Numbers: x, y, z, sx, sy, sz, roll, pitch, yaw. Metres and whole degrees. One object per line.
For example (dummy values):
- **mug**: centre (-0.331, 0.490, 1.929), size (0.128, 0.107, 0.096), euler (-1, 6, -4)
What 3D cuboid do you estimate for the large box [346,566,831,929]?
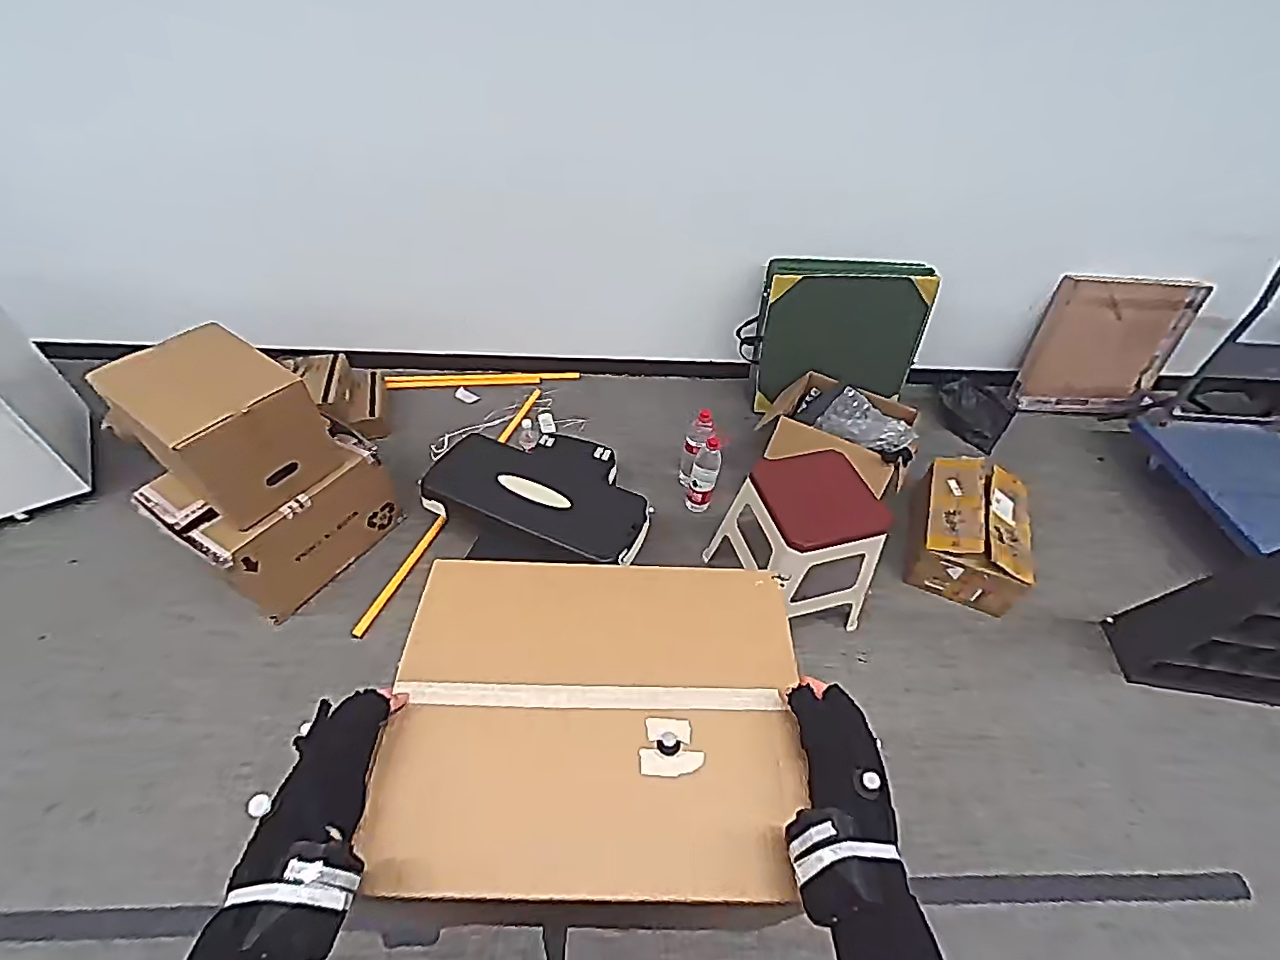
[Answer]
- **large box**: centre (-0.047, 0.321, 0.645), size (0.408, 0.320, 0.320), euler (3, 47, -2)
